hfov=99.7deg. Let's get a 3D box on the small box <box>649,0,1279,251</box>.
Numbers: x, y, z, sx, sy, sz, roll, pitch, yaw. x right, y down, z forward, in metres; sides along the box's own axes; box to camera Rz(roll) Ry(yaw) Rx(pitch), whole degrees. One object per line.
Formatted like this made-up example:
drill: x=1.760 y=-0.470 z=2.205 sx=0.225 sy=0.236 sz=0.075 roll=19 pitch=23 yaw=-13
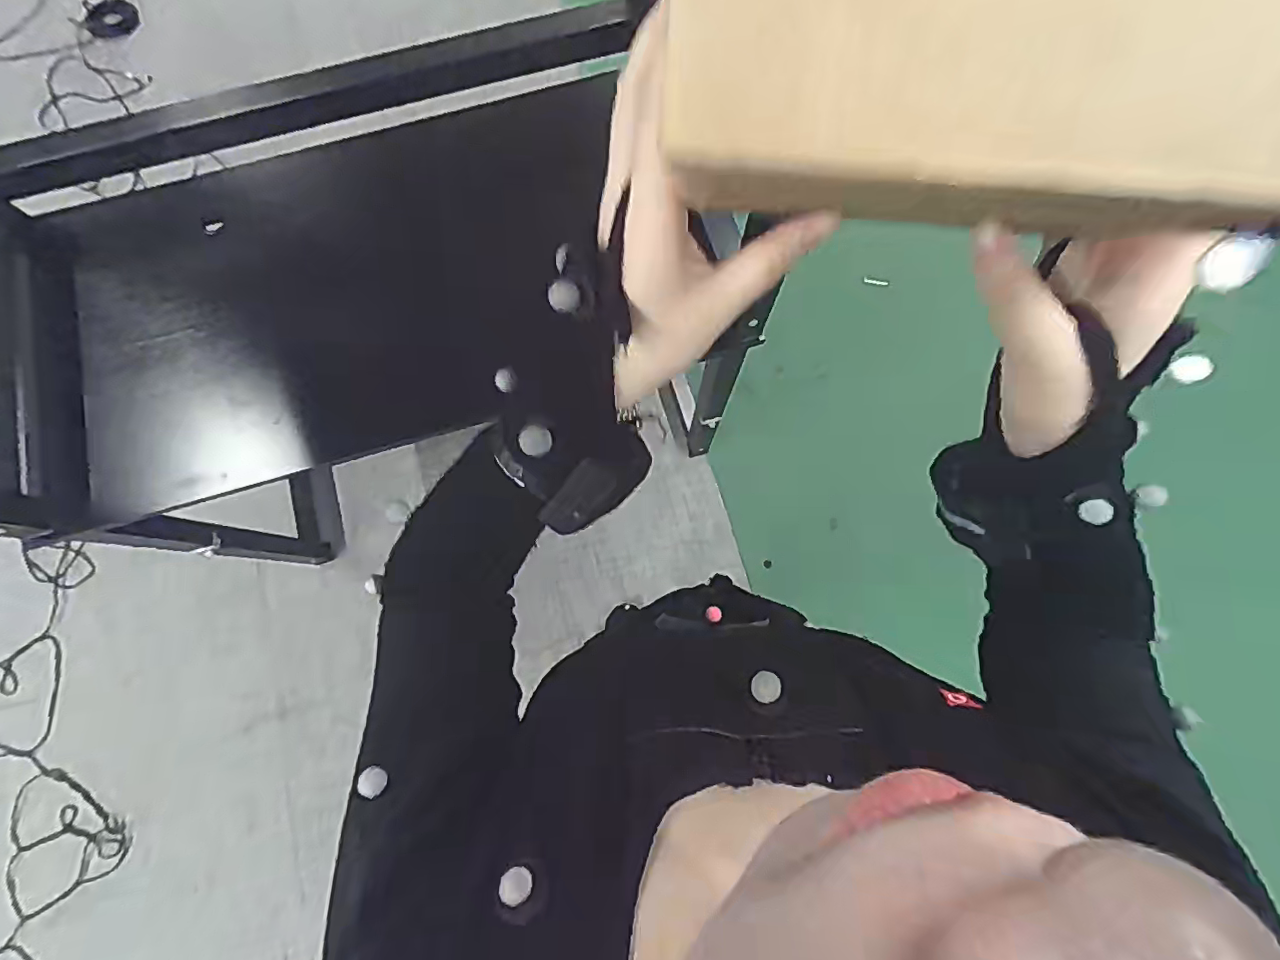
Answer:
small box: x=0.101 y=-0.157 z=0.148 sx=0.179 sy=0.176 sz=0.168 roll=6 pitch=114 yaw=3
